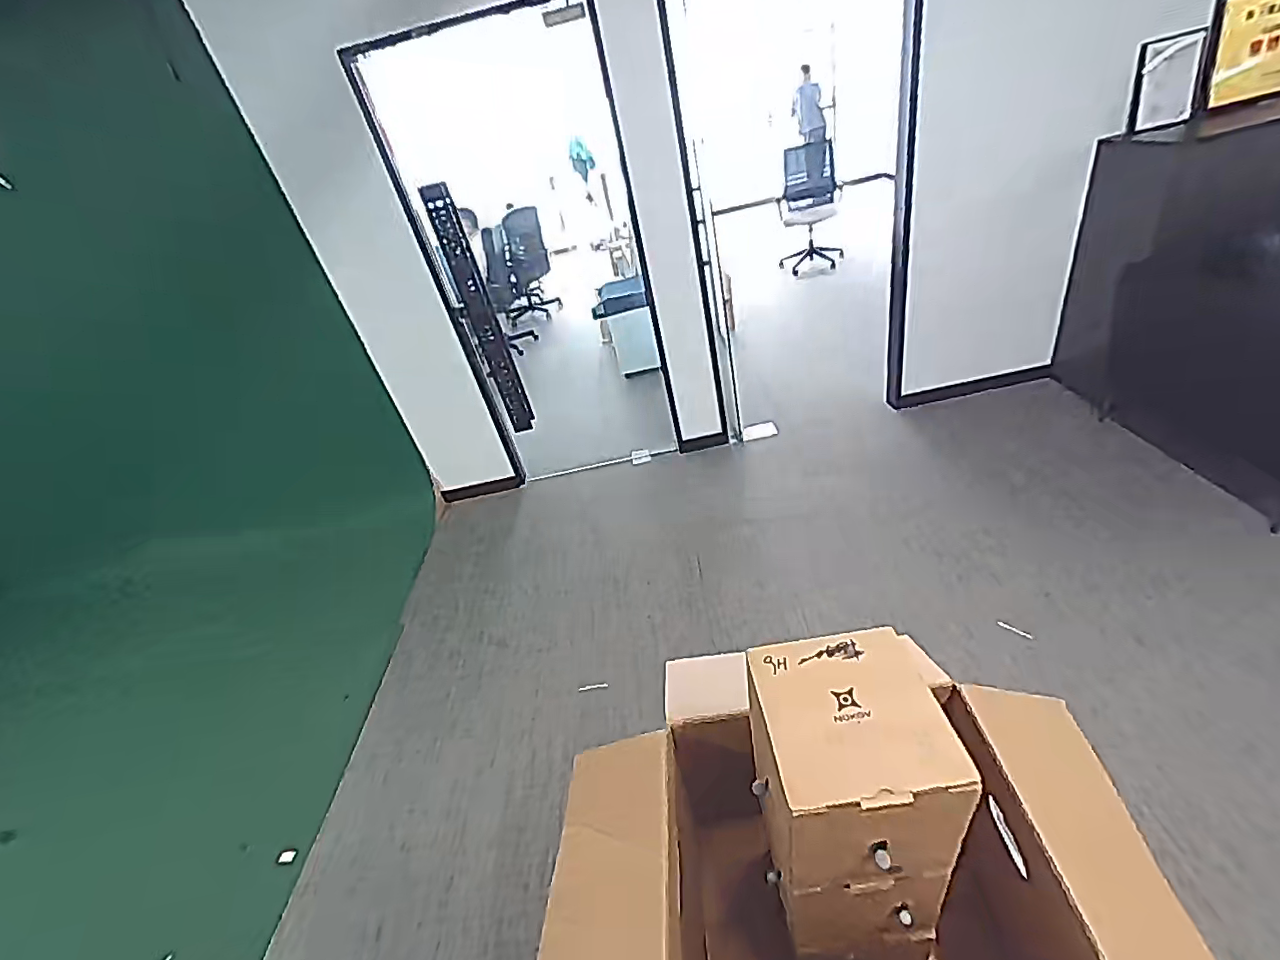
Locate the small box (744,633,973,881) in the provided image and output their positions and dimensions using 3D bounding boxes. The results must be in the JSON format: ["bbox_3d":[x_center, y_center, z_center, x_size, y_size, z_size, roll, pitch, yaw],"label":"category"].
[{"bbox_3d":[0.212,0.294,0.574,0.168,0.176,0.179,-9,34,2],"label":"small box"}]
